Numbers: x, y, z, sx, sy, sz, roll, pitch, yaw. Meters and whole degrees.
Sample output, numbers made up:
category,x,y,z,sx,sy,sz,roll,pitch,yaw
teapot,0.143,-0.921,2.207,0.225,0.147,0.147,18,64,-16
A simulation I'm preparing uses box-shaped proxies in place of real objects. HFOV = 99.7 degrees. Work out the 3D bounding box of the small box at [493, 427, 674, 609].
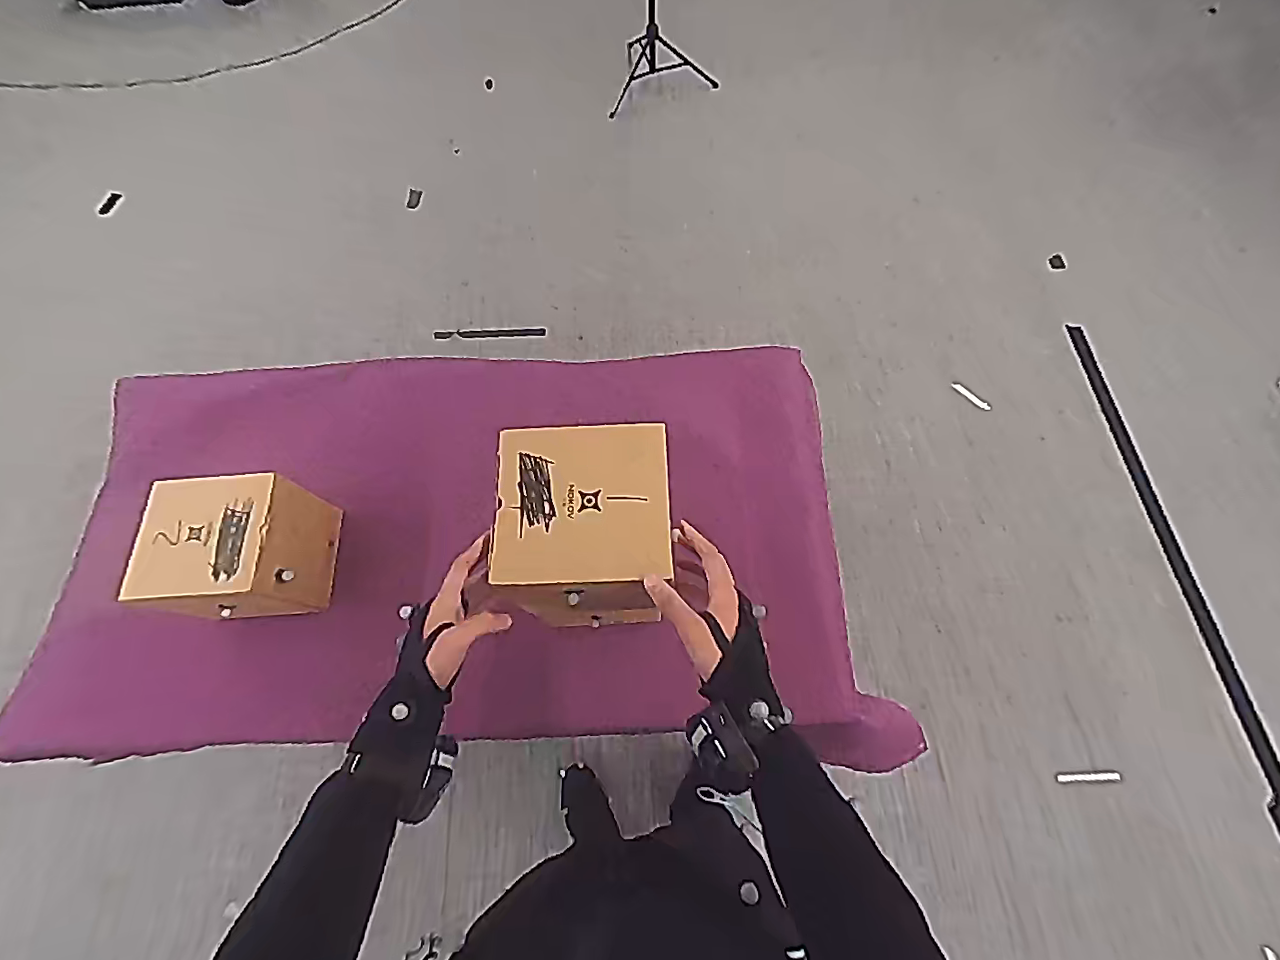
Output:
category,x,y,z,sx,sy,sz,roll,pitch,yaw
small box,-0.051,0.052,0.613,0.179,0.176,0.168,-1,68,1

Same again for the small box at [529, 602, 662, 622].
category,x,y,z,sx,sy,sz,roll,pitch,yaw
small box,-0.054,0.105,0.768,0.168,0.176,0.179,-2,68,1
